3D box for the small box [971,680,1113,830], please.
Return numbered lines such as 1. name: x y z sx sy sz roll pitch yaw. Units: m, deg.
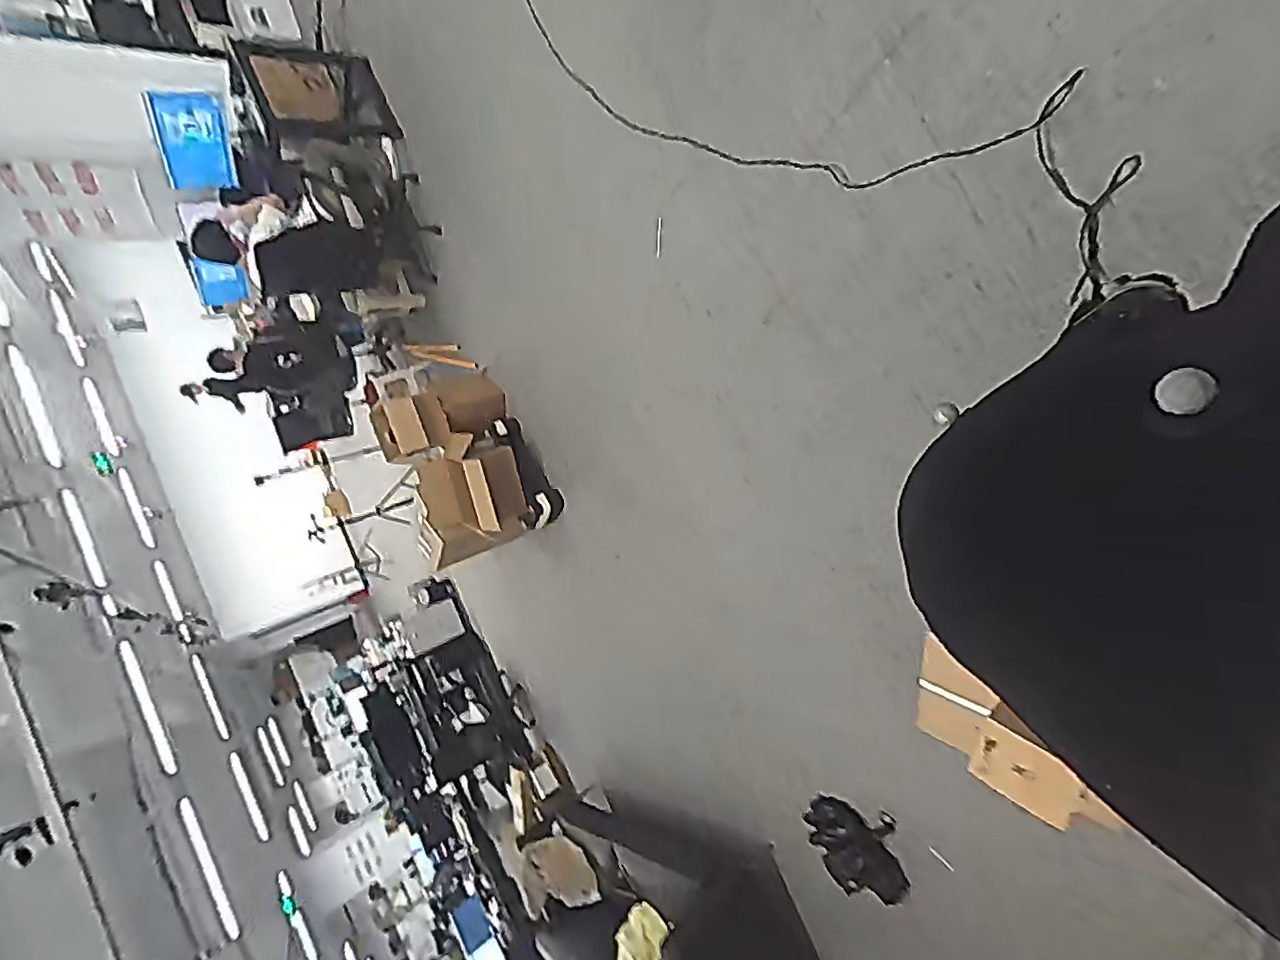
1. small box: 0.810 0.542 1.092 0.179 0.176 0.168 24 127 47
